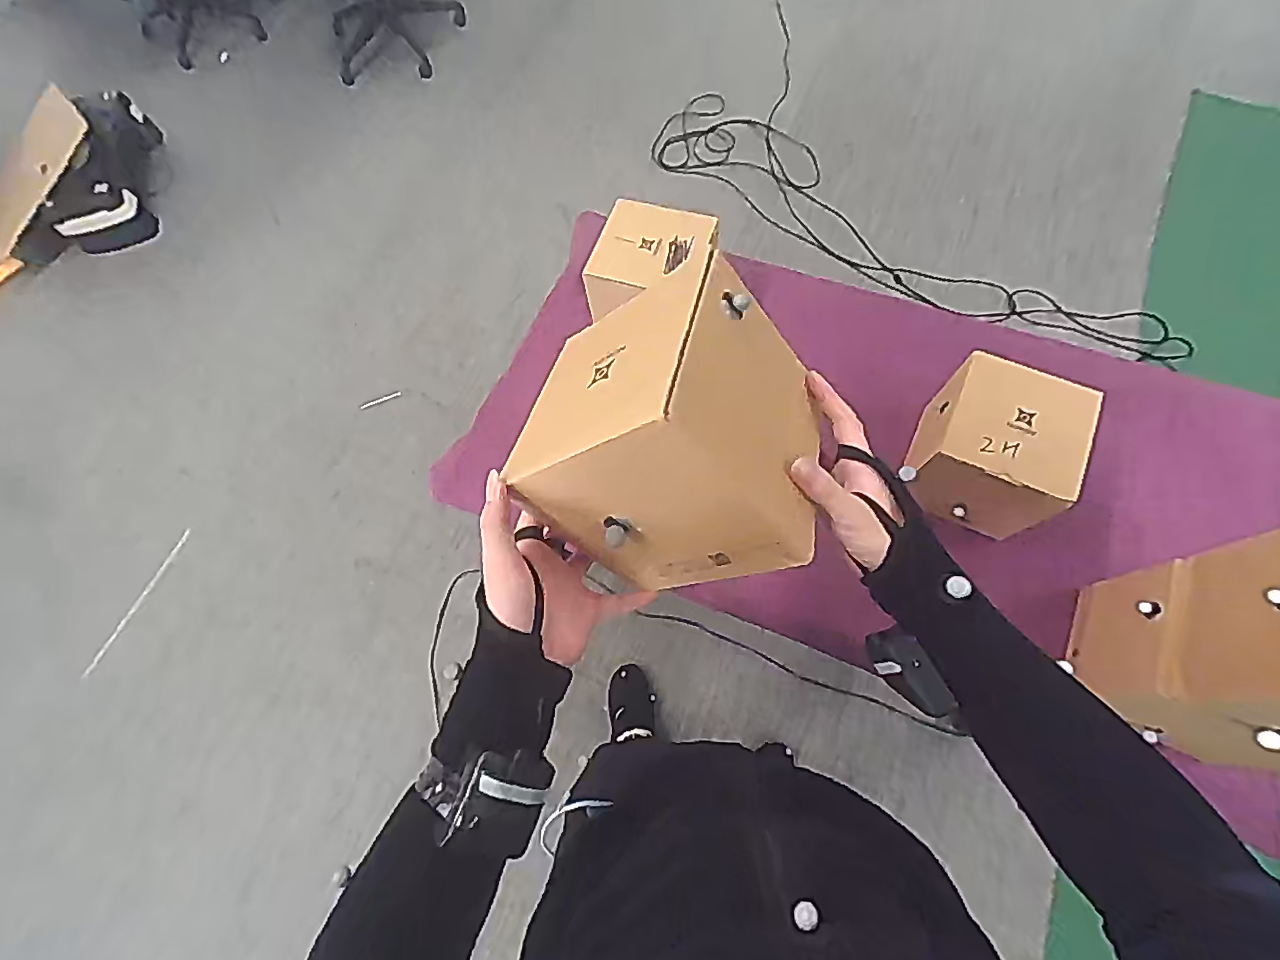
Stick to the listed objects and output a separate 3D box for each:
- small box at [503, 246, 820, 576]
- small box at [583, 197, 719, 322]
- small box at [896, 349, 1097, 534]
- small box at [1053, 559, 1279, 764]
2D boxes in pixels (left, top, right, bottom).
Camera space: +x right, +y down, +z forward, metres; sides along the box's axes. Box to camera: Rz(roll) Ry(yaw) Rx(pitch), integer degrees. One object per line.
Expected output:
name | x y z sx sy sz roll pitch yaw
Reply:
small box | 0.029 -0.036 0.431 0.168 0.176 0.179 -19 41 39
small box | 0.024 -0.340 0.923 0.179 0.176 0.168 17 71 11
small box | 0.497 -0.048 0.778 0.168 0.176 0.179 25 73 13
small box | 0.664 0.221 0.661 0.179 0.176 0.168 25 71 13
